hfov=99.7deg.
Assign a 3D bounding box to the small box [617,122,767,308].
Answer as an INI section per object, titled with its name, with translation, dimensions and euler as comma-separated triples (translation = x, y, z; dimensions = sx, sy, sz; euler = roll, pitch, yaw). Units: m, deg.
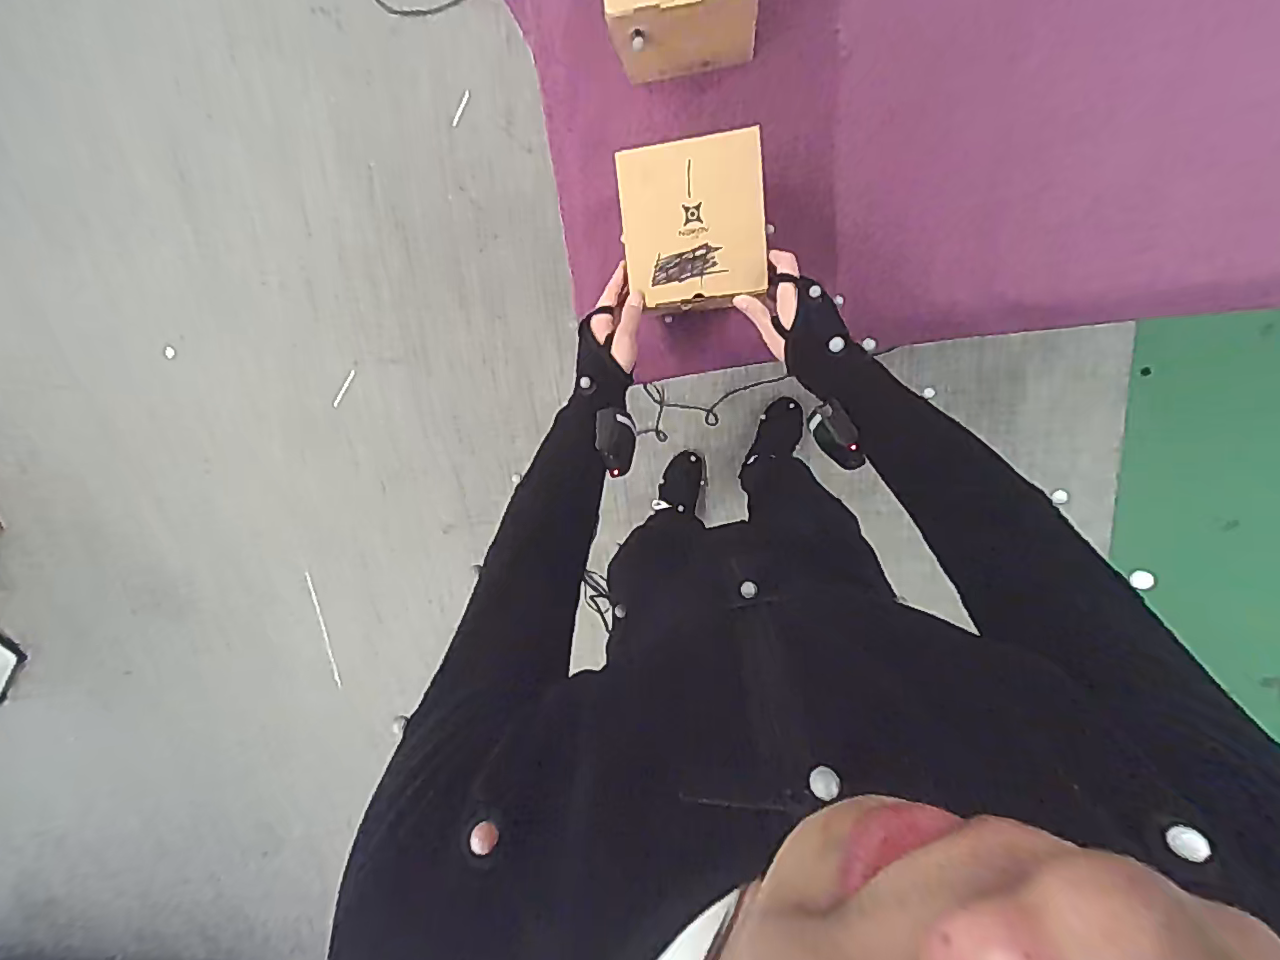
[small box]
translation = 0.074, -0.321, 0.696
dimensions = 0.168, 0.176, 0.179
euler = -4, 103, 10
